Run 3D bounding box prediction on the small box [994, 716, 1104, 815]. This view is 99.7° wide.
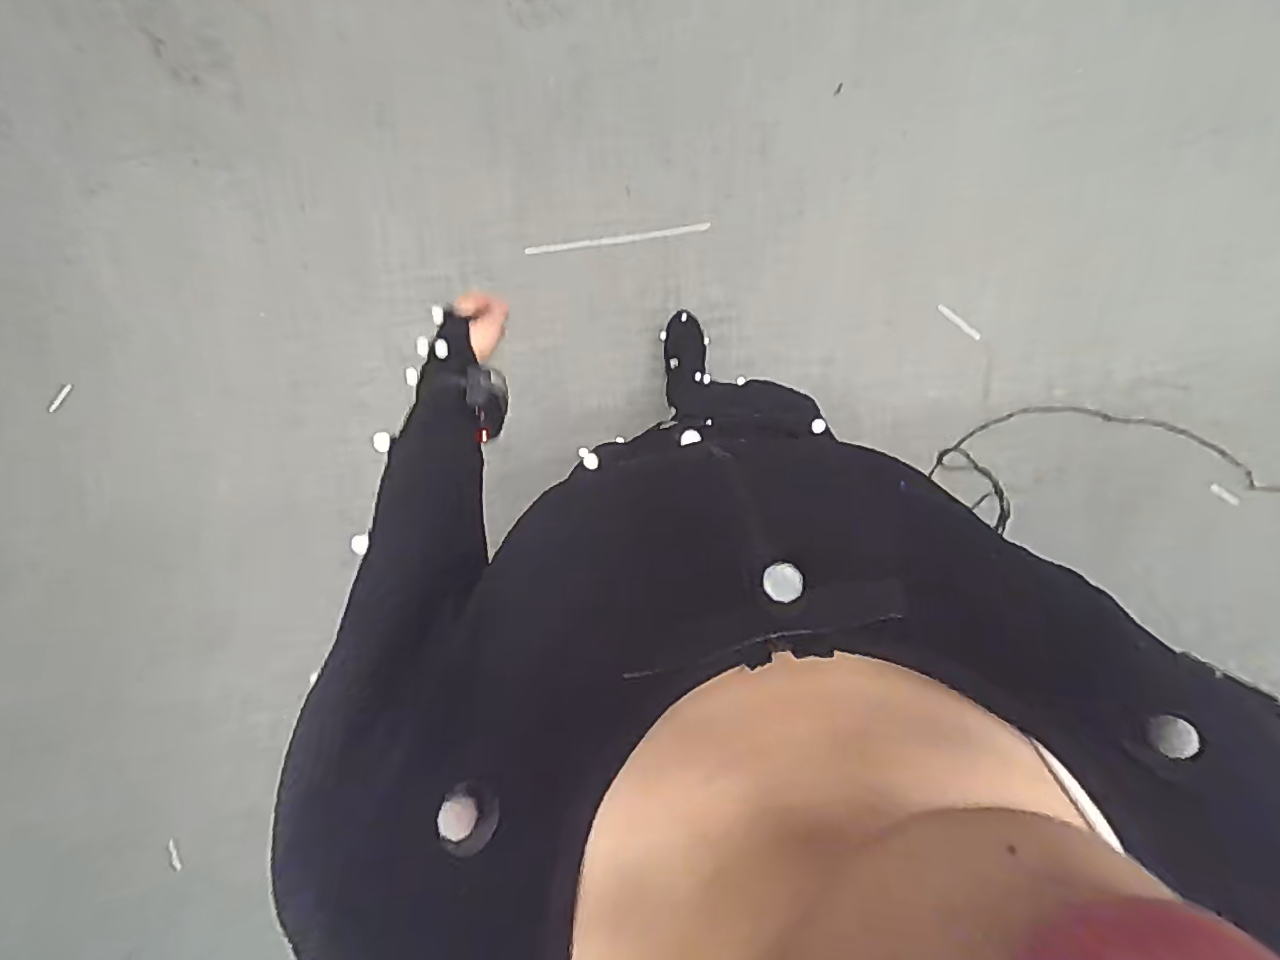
[{"bbox_3d":[1.117,0.780,1.492,0.168,0.176,0.179,5,98,1],"label":"small box"}]
